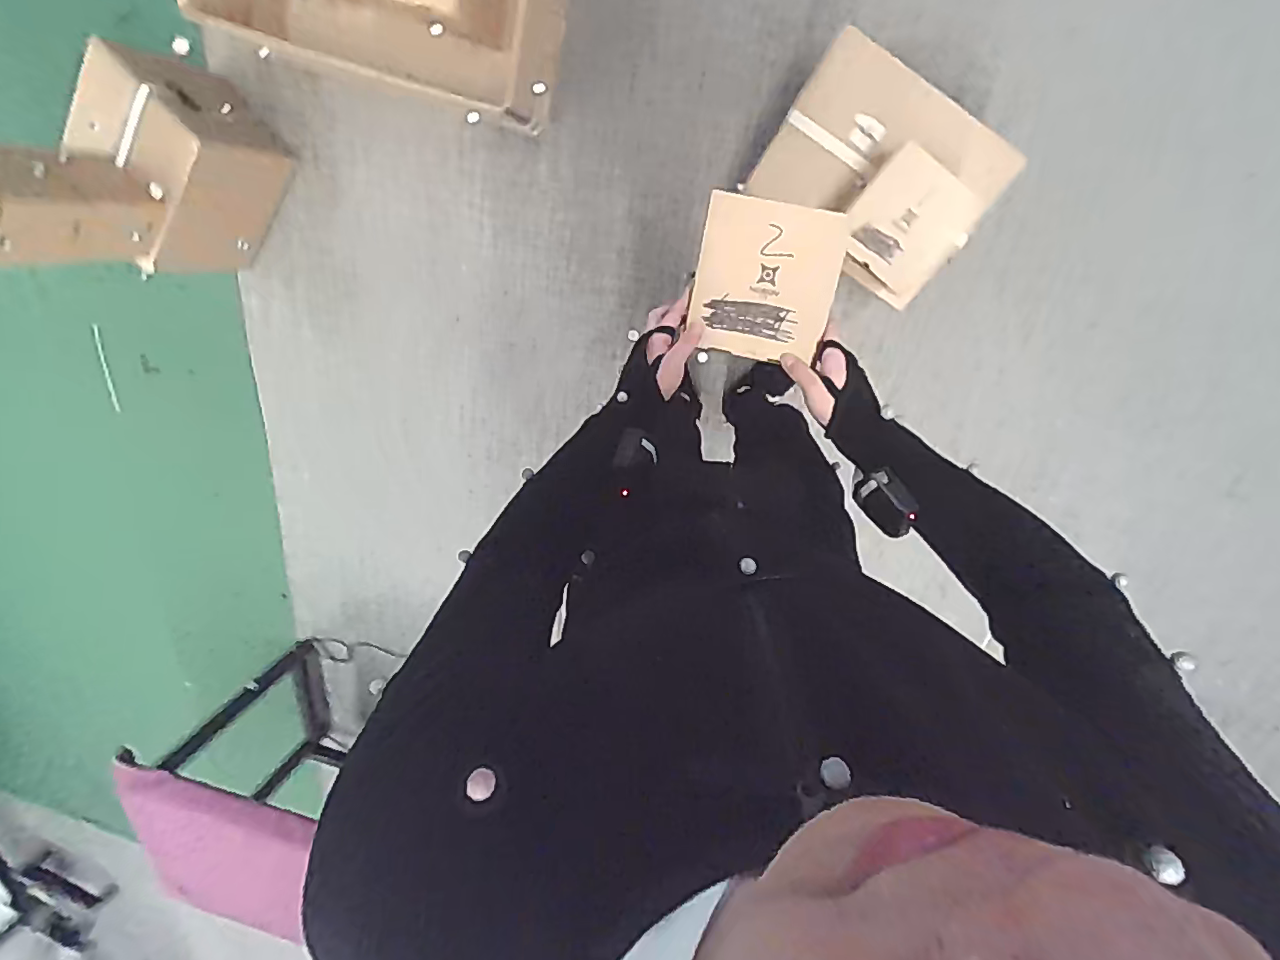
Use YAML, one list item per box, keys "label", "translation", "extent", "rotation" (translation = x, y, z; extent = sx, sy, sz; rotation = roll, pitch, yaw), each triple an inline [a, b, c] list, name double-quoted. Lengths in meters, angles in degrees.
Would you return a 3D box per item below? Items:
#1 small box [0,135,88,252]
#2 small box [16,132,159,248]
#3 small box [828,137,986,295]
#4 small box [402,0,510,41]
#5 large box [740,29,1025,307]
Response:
- label: "small box"
  translation: [-1.323, -0.593, 1.119]
  extent: [0.179, 0.176, 0.168]
  rotation: [44, 115, -8]
- label: "small box"
  translation: [-1.298, -0.665, 1.264]
  extent: [0.179, 0.176, 0.168]
  rotation: [44, 116, -9]
- label: "small box"
  translation: [0.450, -0.454, 0.946]
  extent: [0.168, 0.176, 0.179]
  rotation: [38, 117, -5]
- label: "small box"
  translation: [-0.304, -0.832, 0.840]
  extent: [0.168, 0.176, 0.179]
  rotation: [21, 118, 4]
- label: "large box"
  translation: [0.474, -0.622, 1.141]
  extent: [0.408, 0.320, 0.320]
  rotation: [35, 116, -2]
